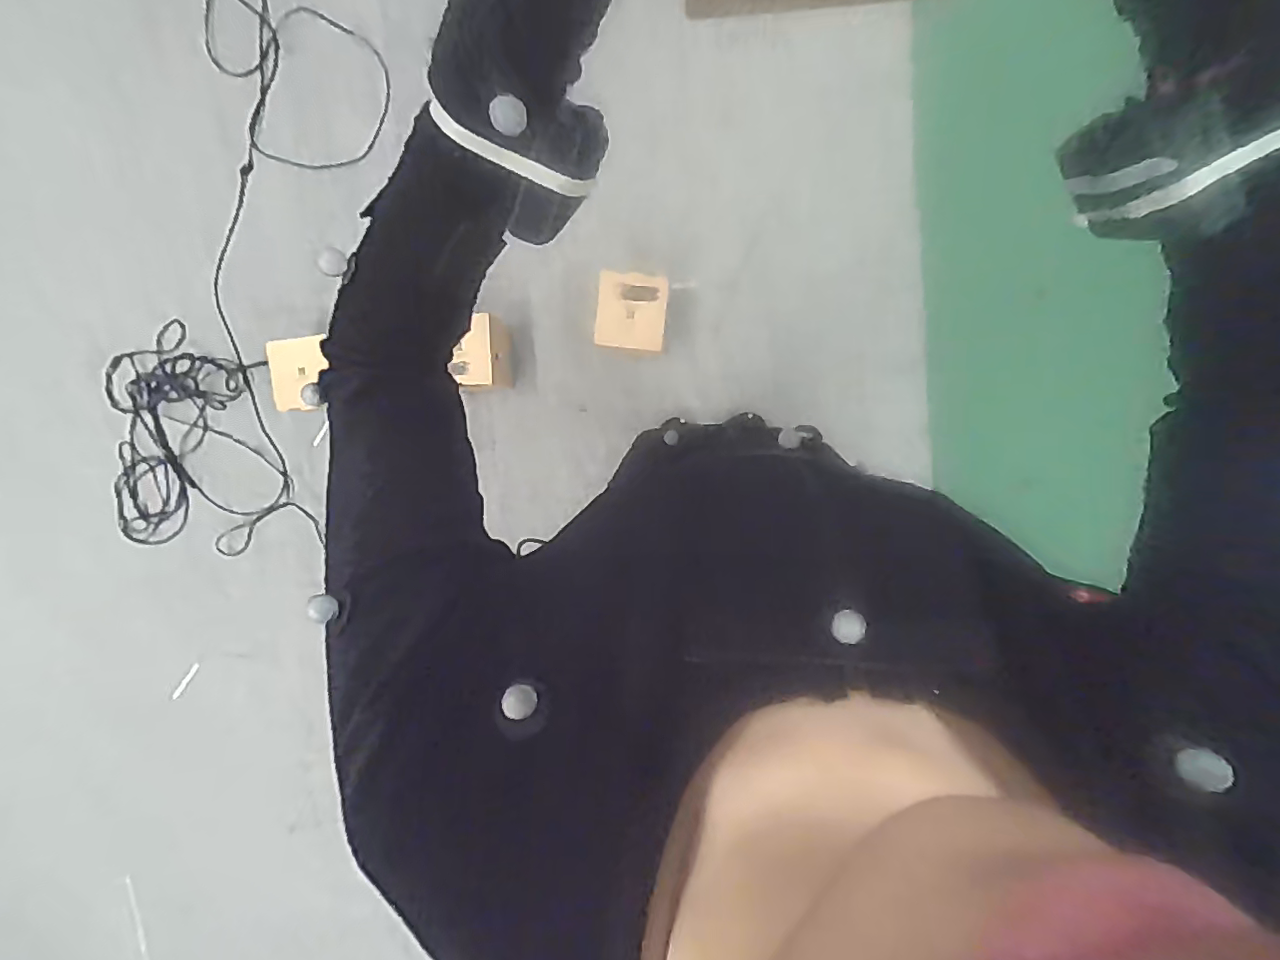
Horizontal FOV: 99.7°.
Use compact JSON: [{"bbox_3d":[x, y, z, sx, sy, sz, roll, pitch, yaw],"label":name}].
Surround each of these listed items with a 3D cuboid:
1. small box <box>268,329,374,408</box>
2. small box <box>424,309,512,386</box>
[{"bbox_3d":[-0.835,-0.288,1.429,0.168,0.176,0.179,-6,96,5],"label":"small box"},{"bbox_3d":[-0.436,-0.334,1.396,0.168,0.176,0.179,-1,95,4],"label":"small box"}]
